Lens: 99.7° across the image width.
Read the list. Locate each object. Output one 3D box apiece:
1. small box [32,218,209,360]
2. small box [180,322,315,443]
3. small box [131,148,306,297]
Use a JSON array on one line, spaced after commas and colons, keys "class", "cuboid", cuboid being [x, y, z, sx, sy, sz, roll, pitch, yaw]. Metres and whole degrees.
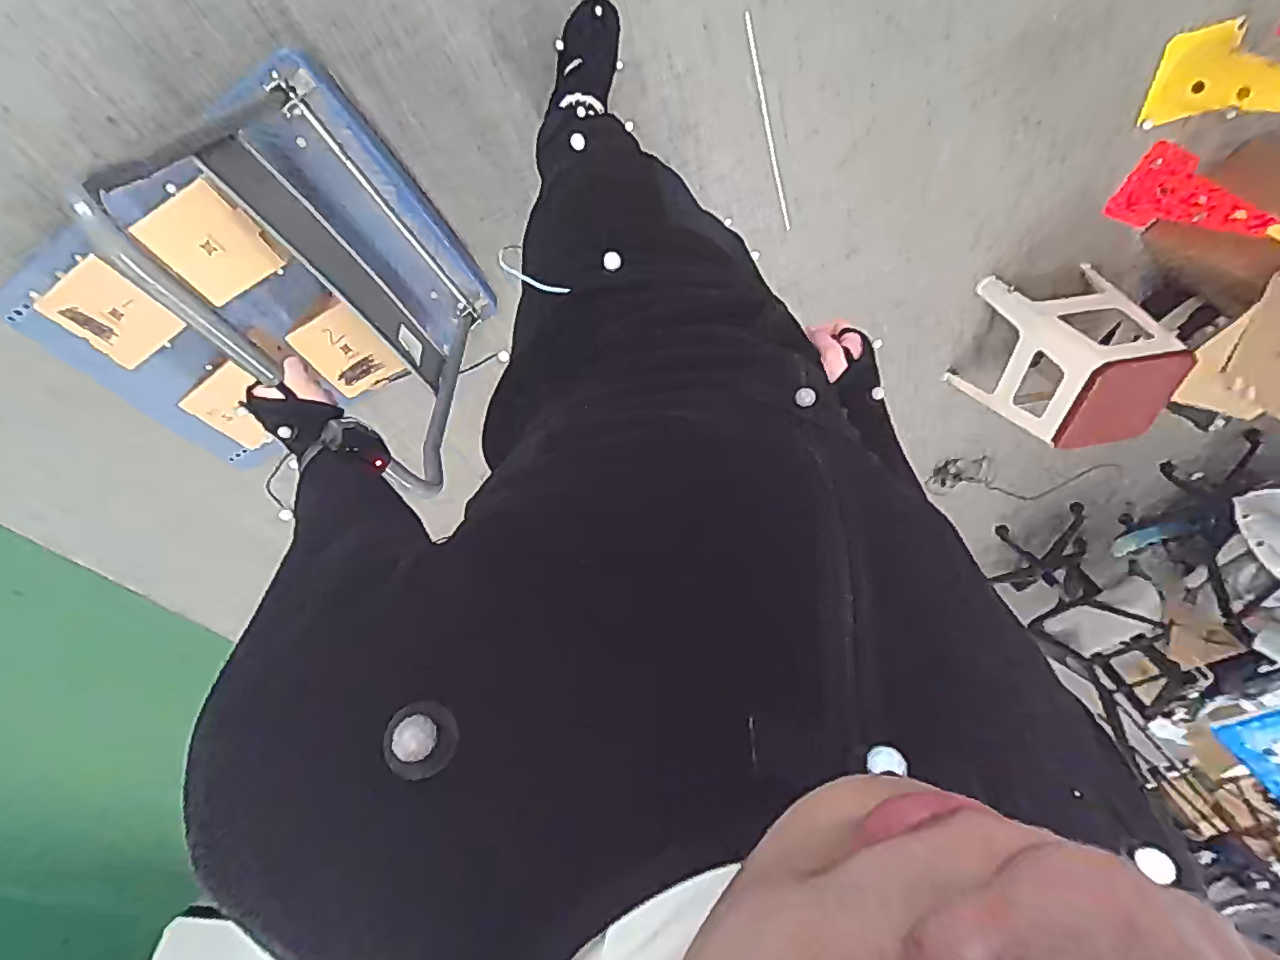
[{"class": "small box", "cuboid": [-0.992, -0.376, 1.058, 0.179, 0.176, 0.168, -29, 133, 12]}, {"class": "small box", "cuboid": [-0.876, -0.225, 1.228, 0.179, 0.176, 0.168, -30, 131, 14]}, {"class": "small box", "cuboid": [-0.773, -0.484, 1.016, 0.179, 0.176, 0.168, -25, 133, 11]}]
